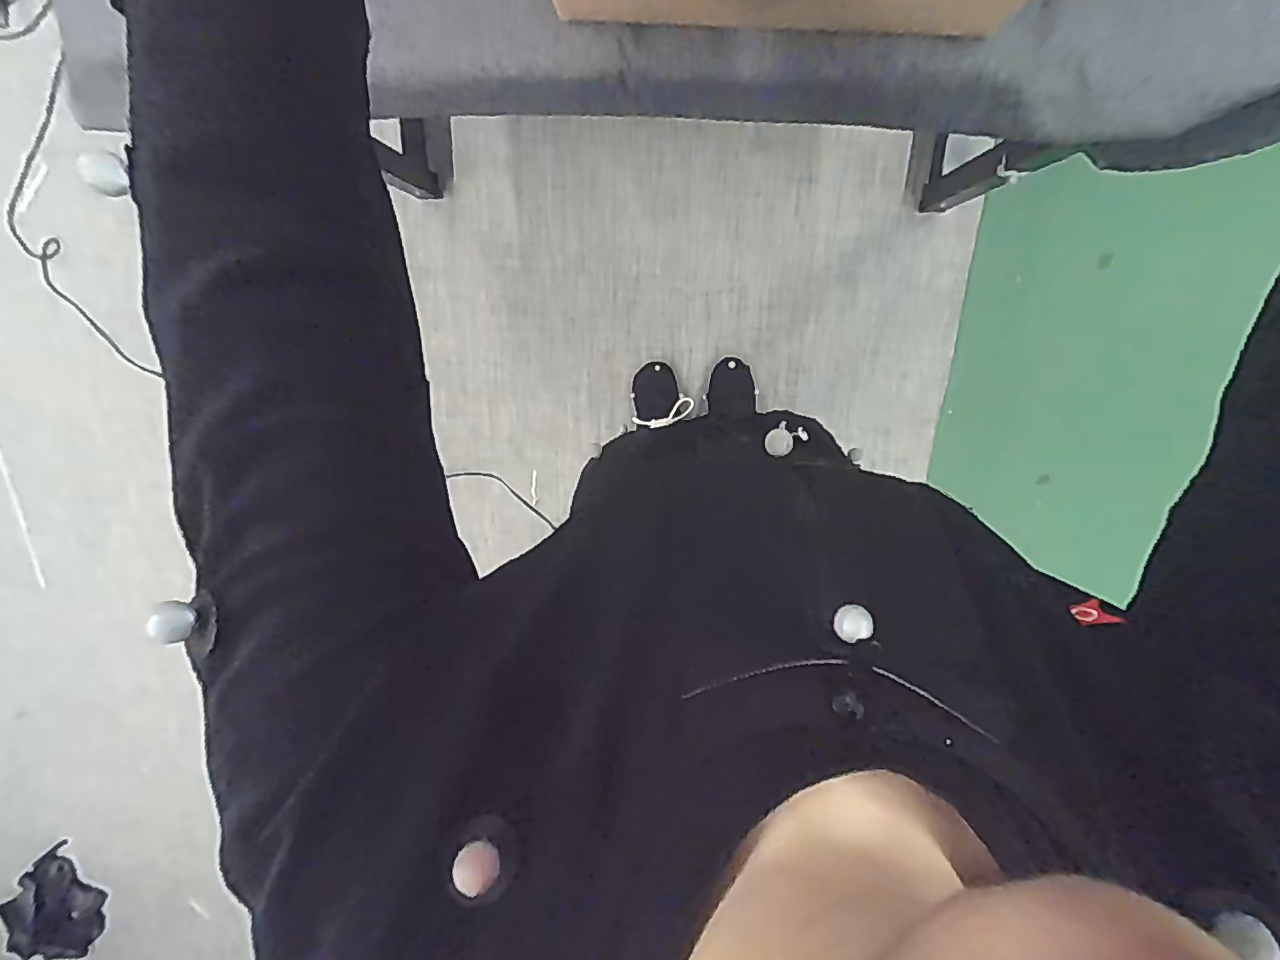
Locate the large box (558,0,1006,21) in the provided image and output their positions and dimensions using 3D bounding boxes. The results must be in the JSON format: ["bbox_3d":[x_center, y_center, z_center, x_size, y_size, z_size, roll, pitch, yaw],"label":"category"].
[{"bbox_3d":[0.119,-0.537,0.322,0.408,0.320,0.320,4,105,3],"label":"large box"}]
